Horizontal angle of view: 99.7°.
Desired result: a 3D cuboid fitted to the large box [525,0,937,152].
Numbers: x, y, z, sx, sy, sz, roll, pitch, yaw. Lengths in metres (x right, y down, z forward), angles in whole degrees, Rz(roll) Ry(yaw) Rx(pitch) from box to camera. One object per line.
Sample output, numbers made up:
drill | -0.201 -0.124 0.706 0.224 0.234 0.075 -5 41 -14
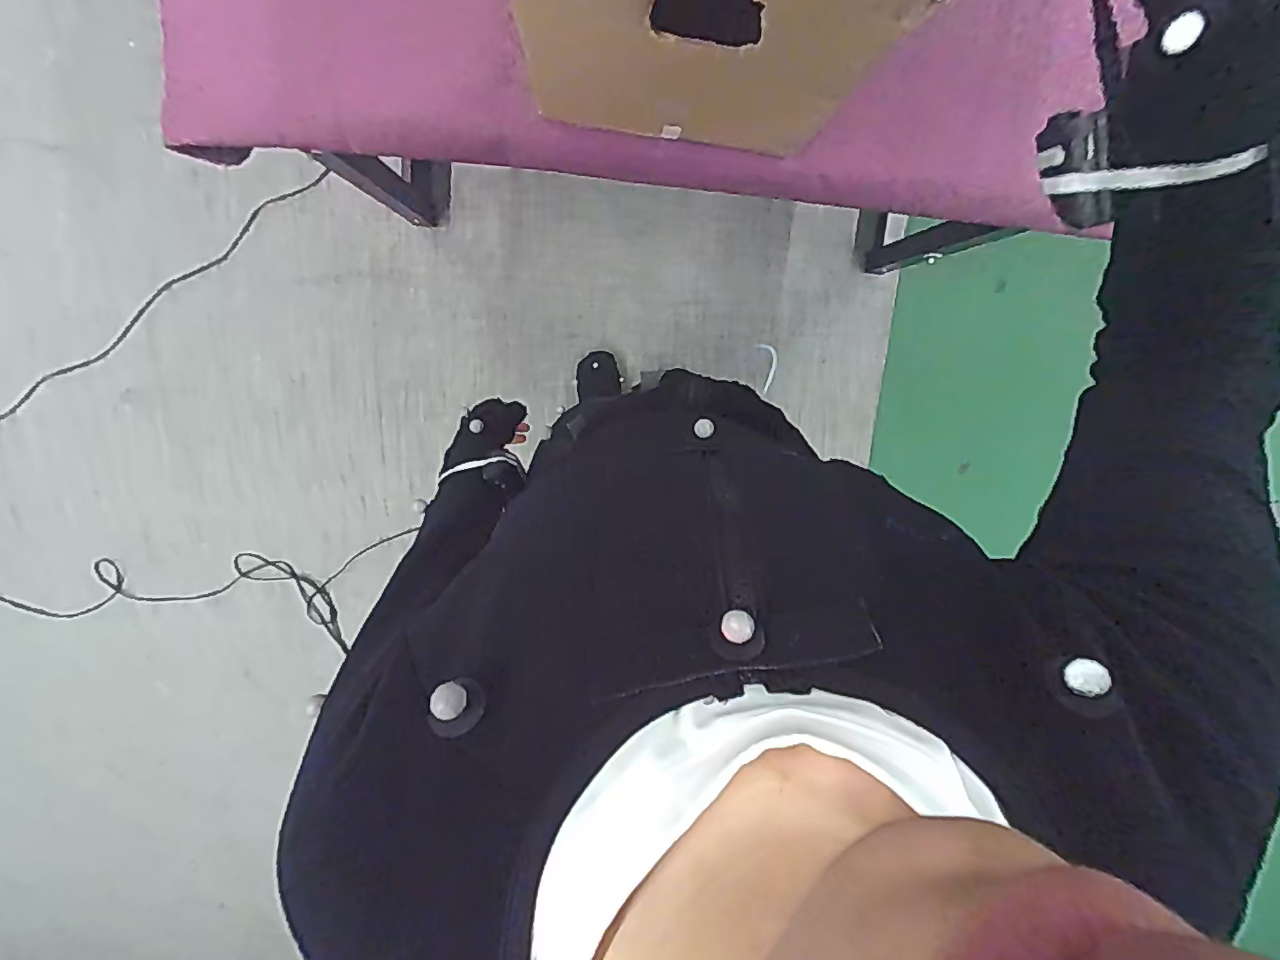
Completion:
large box | 0.071 -0.579 0.470 0.320 0.320 0.408 6 103 -5
